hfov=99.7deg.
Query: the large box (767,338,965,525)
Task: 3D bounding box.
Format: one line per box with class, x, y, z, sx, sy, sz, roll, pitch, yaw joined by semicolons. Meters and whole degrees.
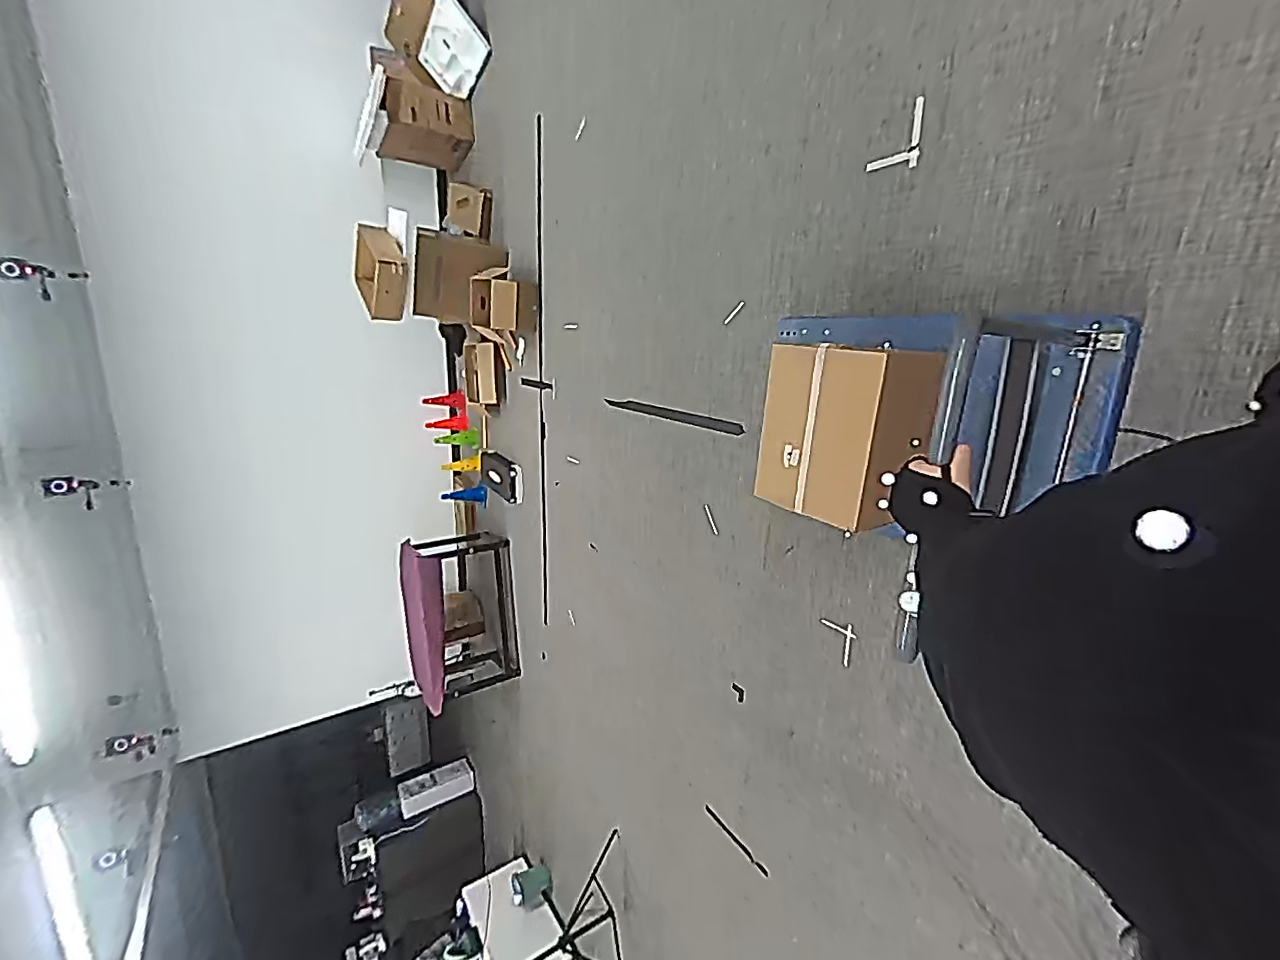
large box;0.556;-0.146;1.358;0.320;0.320;0.408;26;118;53
